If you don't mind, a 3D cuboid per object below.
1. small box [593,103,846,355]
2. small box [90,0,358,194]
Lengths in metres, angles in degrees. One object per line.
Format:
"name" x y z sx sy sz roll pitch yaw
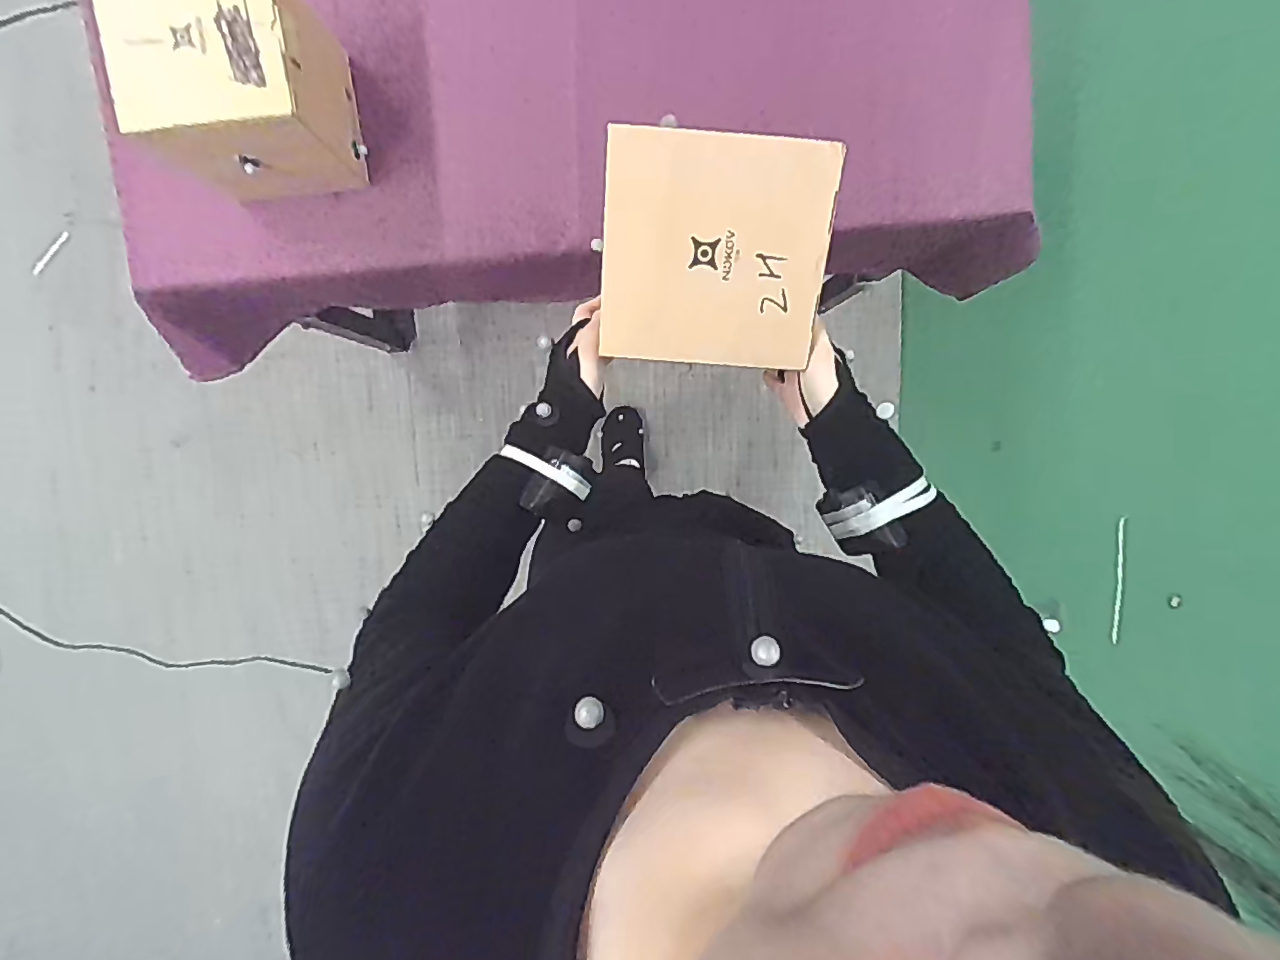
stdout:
"small box" 0.055 -0.213 0.487 0.179 0.176 0.168 4 112 -2
"small box" -0.443 -0.447 0.607 0.179 0.176 0.168 -8 96 0
